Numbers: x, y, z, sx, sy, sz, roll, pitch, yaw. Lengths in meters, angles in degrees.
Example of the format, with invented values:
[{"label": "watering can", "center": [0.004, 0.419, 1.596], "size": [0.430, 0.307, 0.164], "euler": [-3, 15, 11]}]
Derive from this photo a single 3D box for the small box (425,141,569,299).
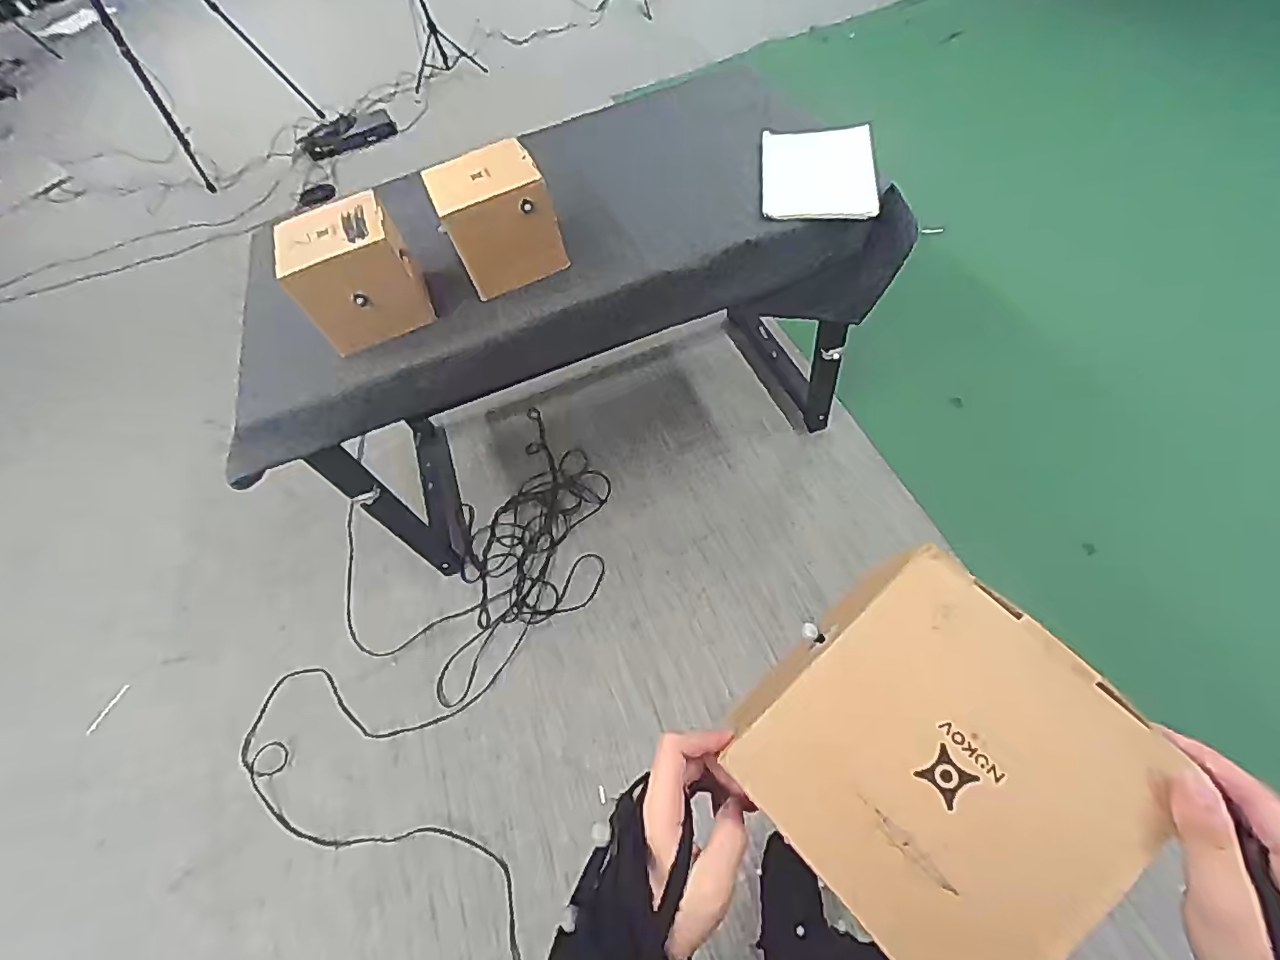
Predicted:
[{"label": "small box", "center": [-0.247, -0.453, 0.955], "size": [0.179, 0.176, 0.168], "euler": [-25, 57, -6]}]
